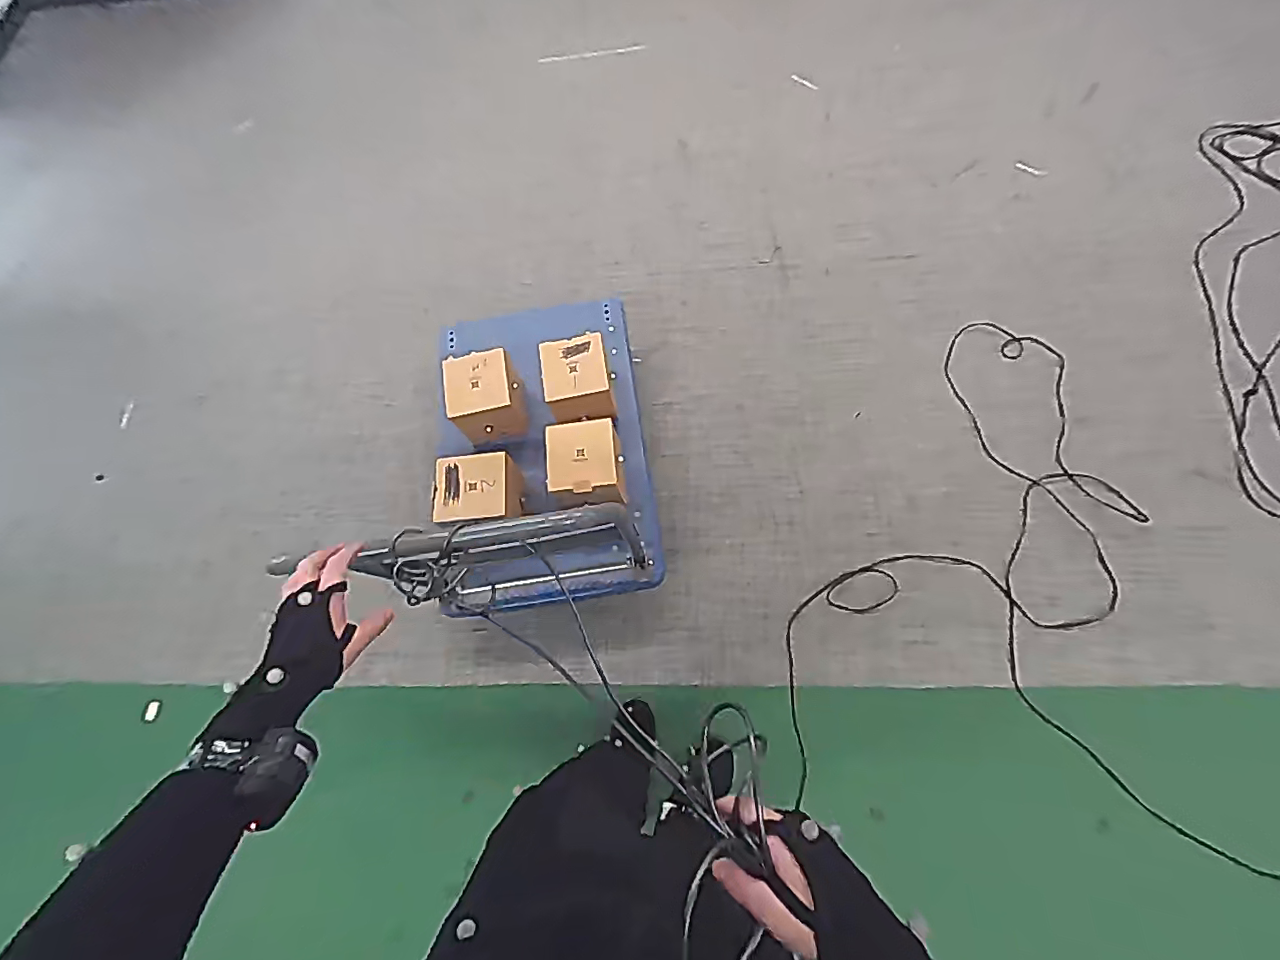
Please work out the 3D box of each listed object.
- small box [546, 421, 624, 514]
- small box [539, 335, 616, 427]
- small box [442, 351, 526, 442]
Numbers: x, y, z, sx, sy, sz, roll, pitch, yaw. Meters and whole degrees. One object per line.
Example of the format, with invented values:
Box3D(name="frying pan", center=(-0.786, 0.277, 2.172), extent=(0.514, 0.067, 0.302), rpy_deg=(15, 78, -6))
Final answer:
Box3D(name="small box", center=(-0.137, -0.026, 1.363), extent=(0.168, 0.176, 0.179), rpy_deg=(-8, 70, 4))
Box3D(name="small box", center=(-0.163, -0.255, 1.445), extent=(0.168, 0.176, 0.179), rpy_deg=(-11, 70, 3))
Box3D(name="small box", center=(-0.416, -0.215, 1.460), extent=(0.168, 0.176, 0.179), rpy_deg=(-12, 70, 1))
